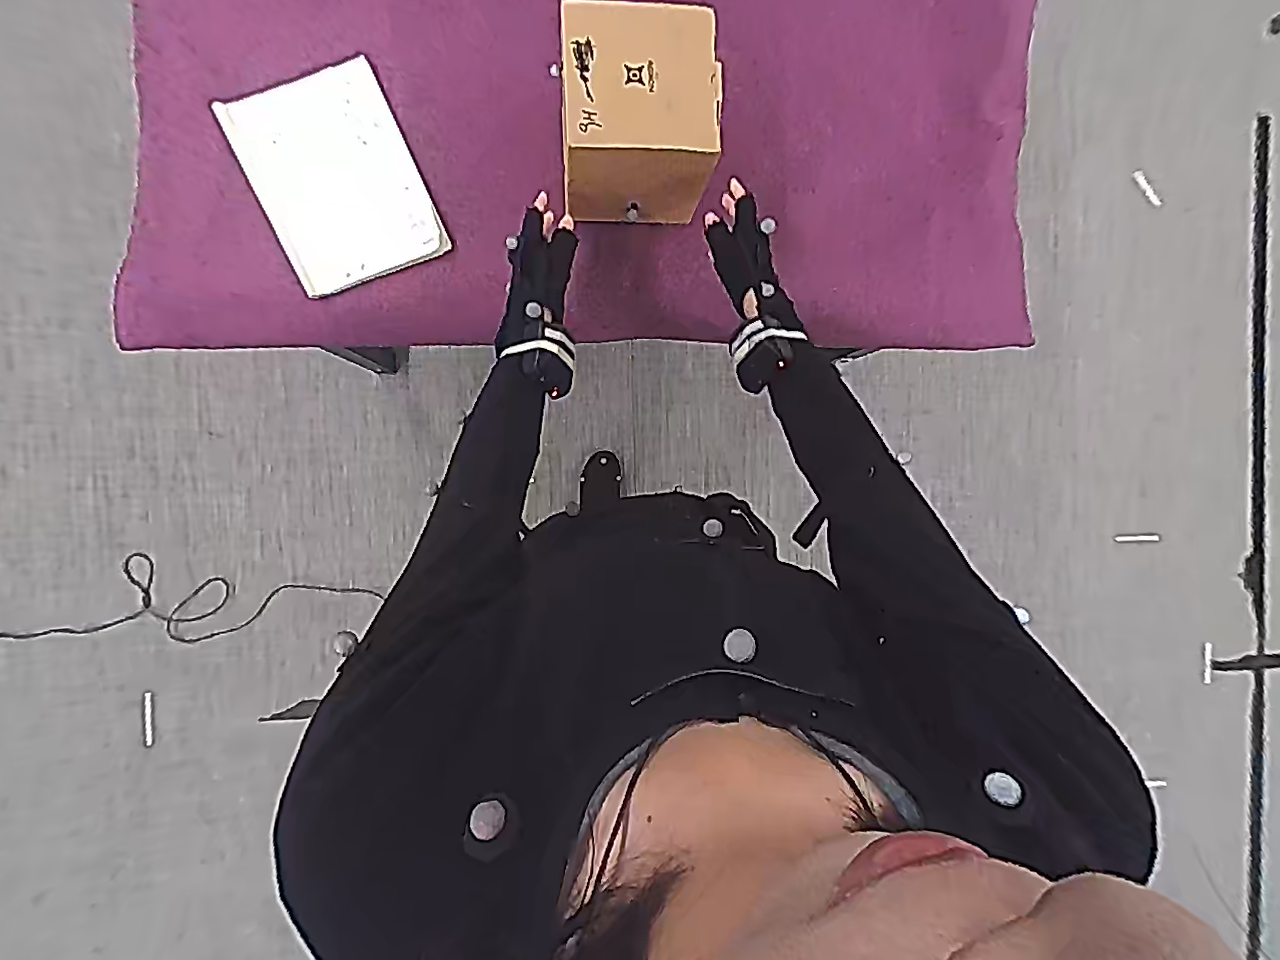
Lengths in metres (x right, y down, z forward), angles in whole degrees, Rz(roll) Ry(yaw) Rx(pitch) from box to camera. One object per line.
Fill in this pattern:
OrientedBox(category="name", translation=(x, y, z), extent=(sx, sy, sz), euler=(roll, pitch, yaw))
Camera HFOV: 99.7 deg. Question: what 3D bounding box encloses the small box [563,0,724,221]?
OrientedBox(category="small box", translation=(-0.005, -0.444, 0.673), extent=(0.179, 0.176, 0.168), euler=(-2, 88, -8))
